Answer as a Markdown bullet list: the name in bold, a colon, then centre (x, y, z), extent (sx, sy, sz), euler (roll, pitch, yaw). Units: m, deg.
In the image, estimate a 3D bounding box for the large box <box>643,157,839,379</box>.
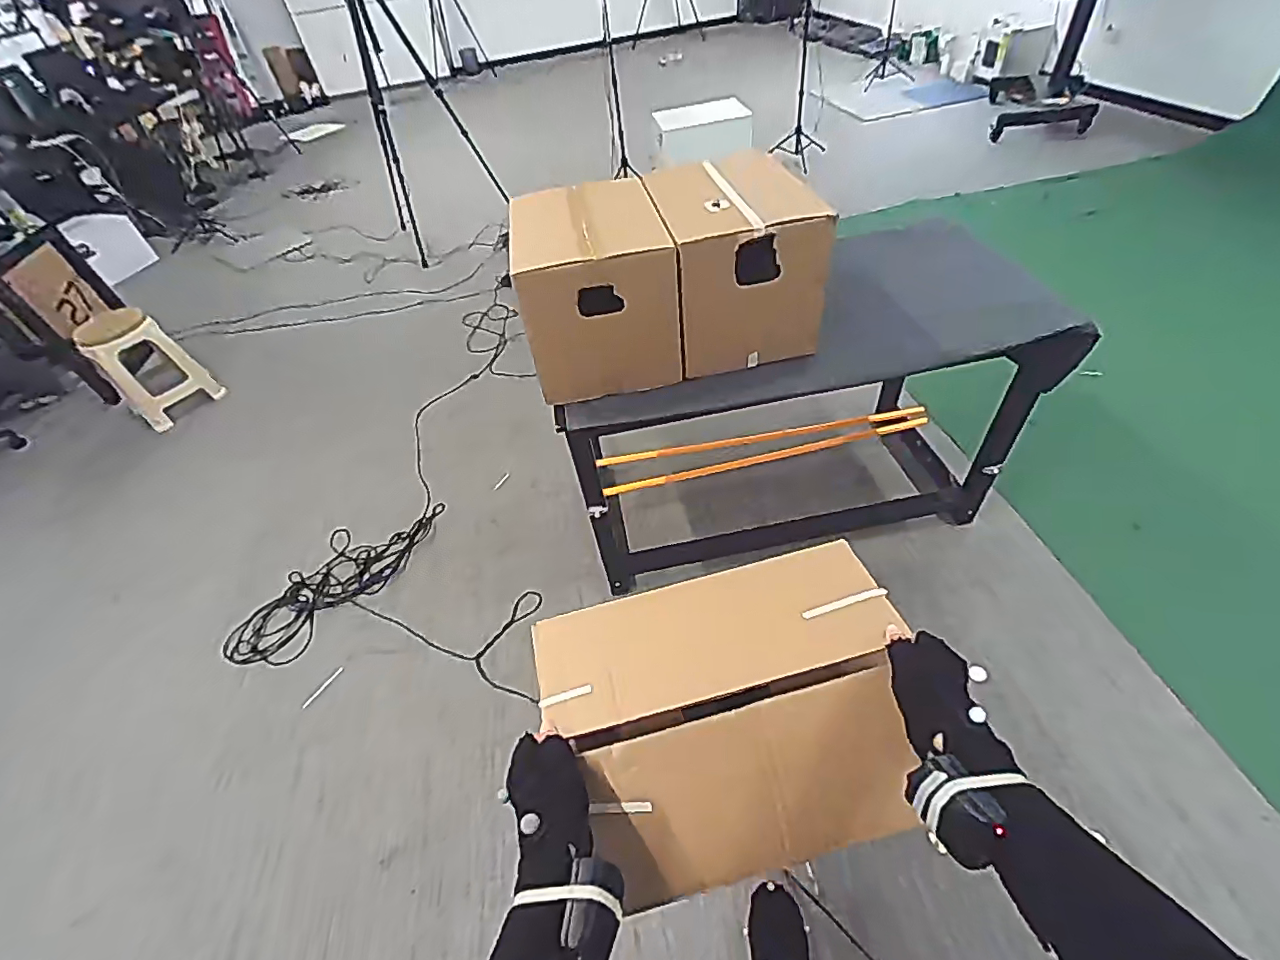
- **large box**: centre (0.207, -0.498, 1.255), extent (0.320, 0.320, 0.408), euler (-13, 47, -2)
